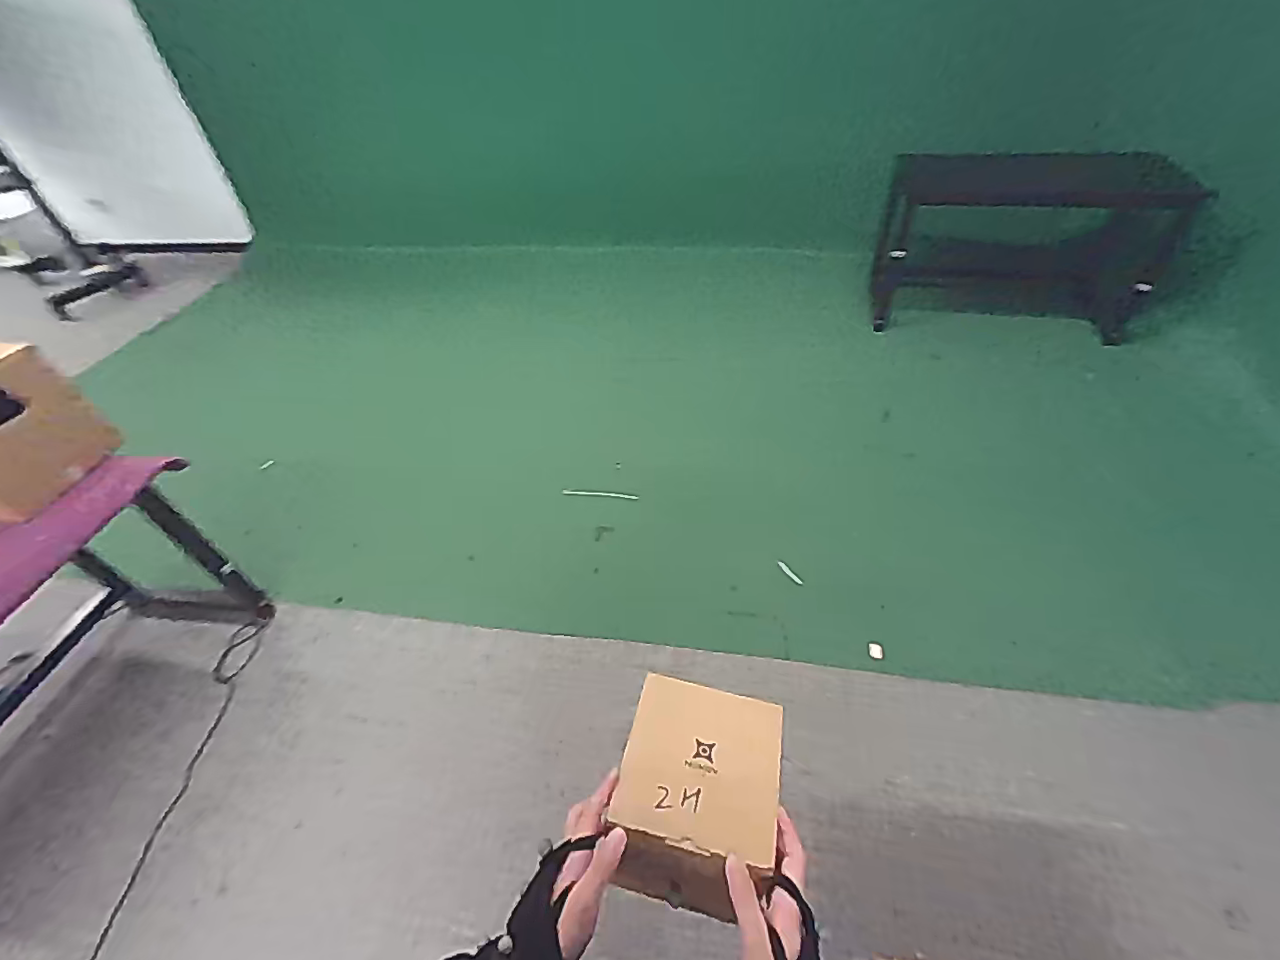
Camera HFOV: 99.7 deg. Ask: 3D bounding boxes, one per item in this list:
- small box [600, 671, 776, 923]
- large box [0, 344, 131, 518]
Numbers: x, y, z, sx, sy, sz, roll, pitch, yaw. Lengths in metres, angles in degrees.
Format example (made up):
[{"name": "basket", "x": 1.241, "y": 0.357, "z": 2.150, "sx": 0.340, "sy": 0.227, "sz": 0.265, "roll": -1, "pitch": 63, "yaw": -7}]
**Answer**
[{"name": "small box", "x": 0.054, "y": 0.360, "z": 0.623, "sx": 0.168, "sy": 0.176, "sz": 0.179, "roll": 10, "pitch": 37, "yaw": 10}, {"name": "large box", "x": -1.647, "y": -0.127, "z": 1.337, "sx": 0.408, "sy": 0.320, "sz": 0.320, "roll": 5, "pitch": 47, "yaw": 9}]
